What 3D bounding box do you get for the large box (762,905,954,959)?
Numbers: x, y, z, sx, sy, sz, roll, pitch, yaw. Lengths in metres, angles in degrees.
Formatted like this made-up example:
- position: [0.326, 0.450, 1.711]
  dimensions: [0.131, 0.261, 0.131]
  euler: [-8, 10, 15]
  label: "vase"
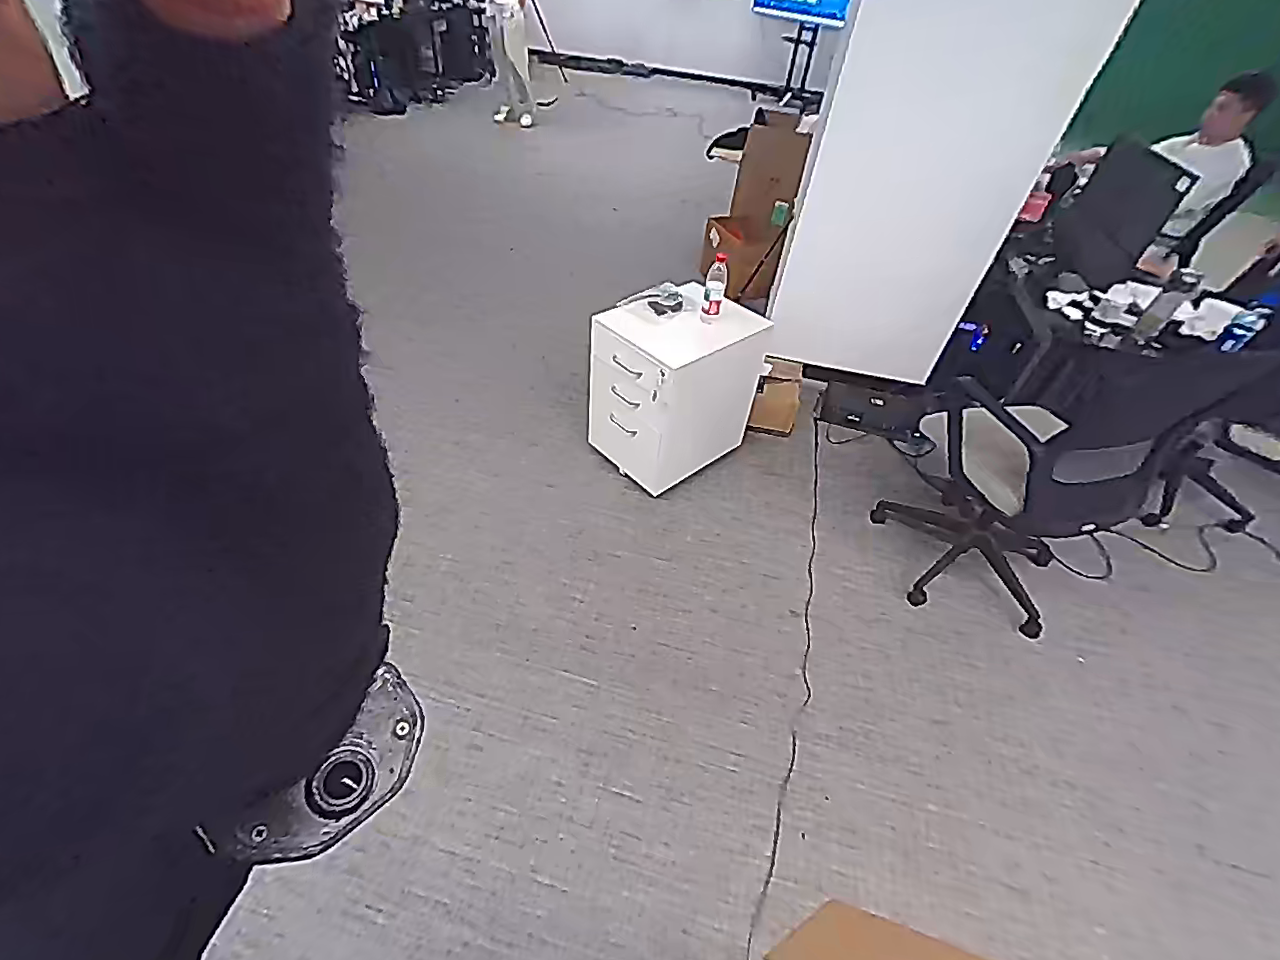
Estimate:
- position: [0.288, 0.757, 0.573]
  dimensions: [0.320, 0.408, 0.320]
  euler: [-19, 74, -25]
  label: "large box"
